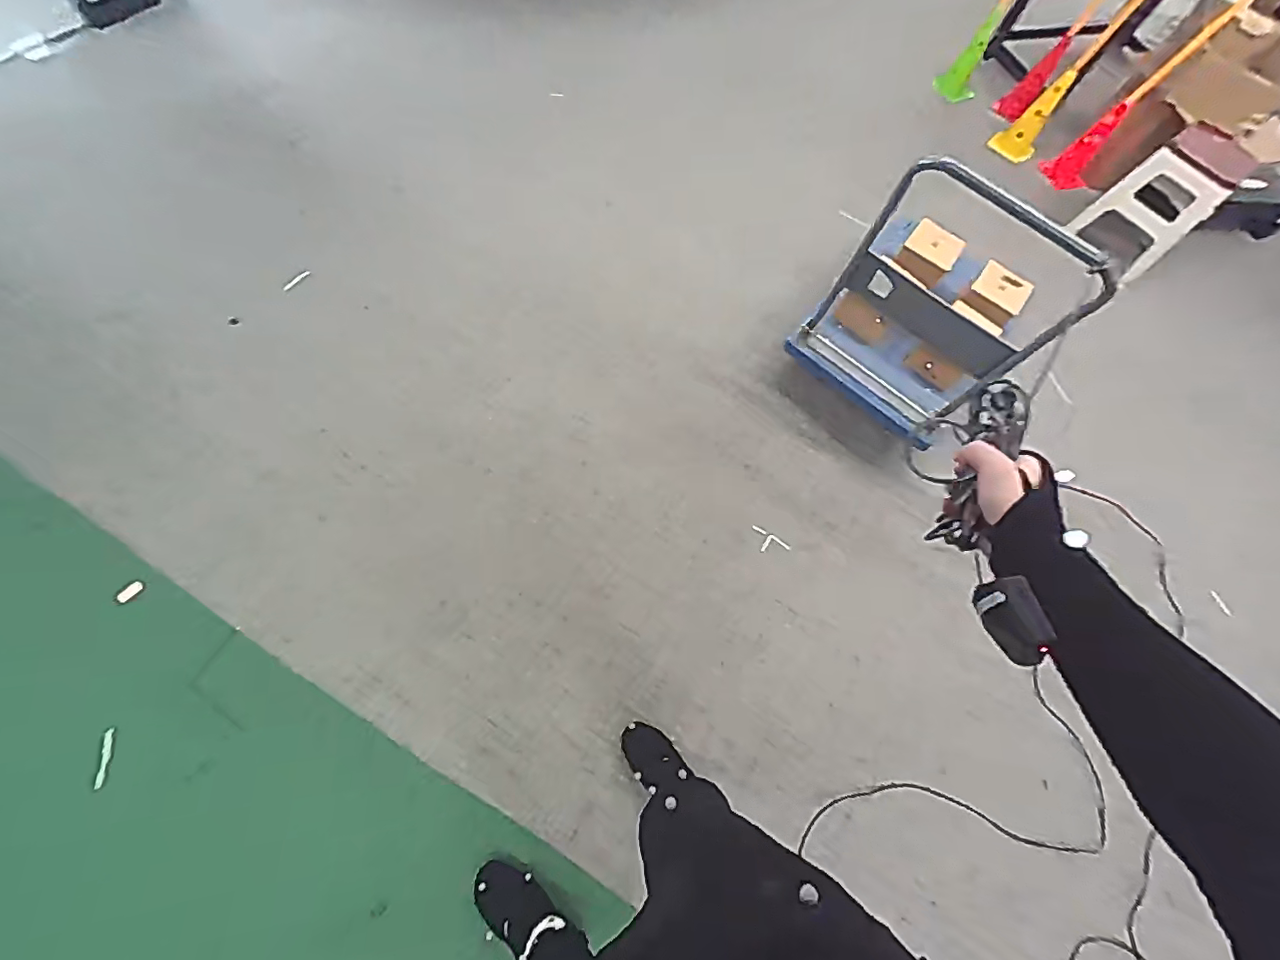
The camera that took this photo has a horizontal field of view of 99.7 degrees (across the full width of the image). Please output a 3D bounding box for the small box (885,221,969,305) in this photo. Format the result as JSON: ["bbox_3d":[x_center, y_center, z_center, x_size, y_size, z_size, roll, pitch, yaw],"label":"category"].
[{"bbox_3d":[0.981,-0.744,1.866,0.168,0.176,0.179,38,66,8],"label":"small box"}]

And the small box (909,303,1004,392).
[{"bbox_3d":[1.003,-0.419,1.728,0.168,0.176,0.179,42,68,10],"label":"small box"}]

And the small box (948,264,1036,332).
[{"bbox_3d":[1.177,-0.583,1.825,0.168,0.176,0.179,38,67,10],"label":"small box"}]
